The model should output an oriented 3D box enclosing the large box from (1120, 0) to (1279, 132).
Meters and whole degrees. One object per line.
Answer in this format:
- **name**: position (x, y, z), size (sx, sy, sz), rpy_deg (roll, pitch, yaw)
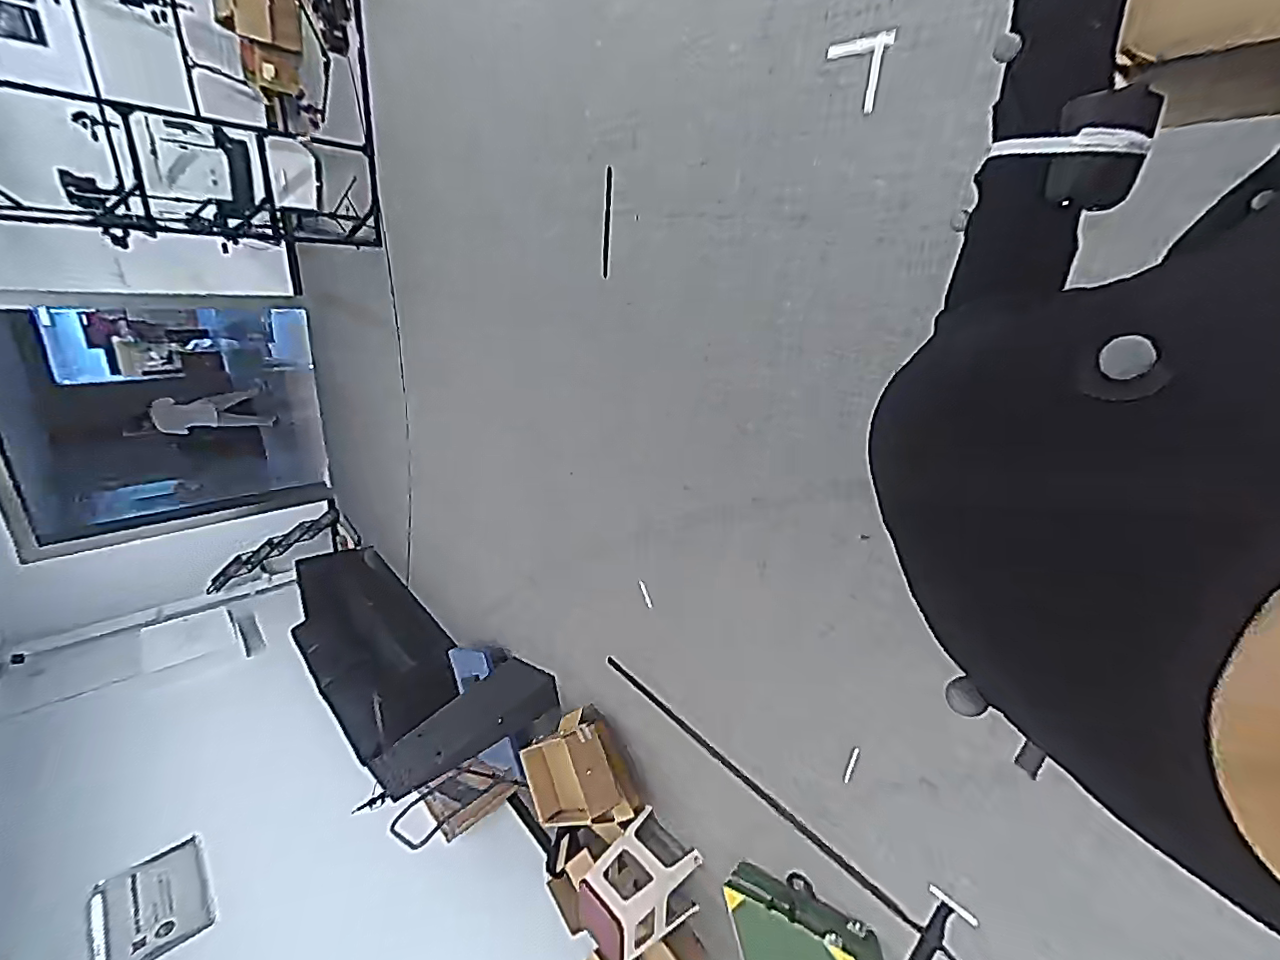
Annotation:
- **large box**: position (0.546, -0.404, 0.264), size (0.408, 0.320, 0.320), rpy_deg (18, 121, 41)
